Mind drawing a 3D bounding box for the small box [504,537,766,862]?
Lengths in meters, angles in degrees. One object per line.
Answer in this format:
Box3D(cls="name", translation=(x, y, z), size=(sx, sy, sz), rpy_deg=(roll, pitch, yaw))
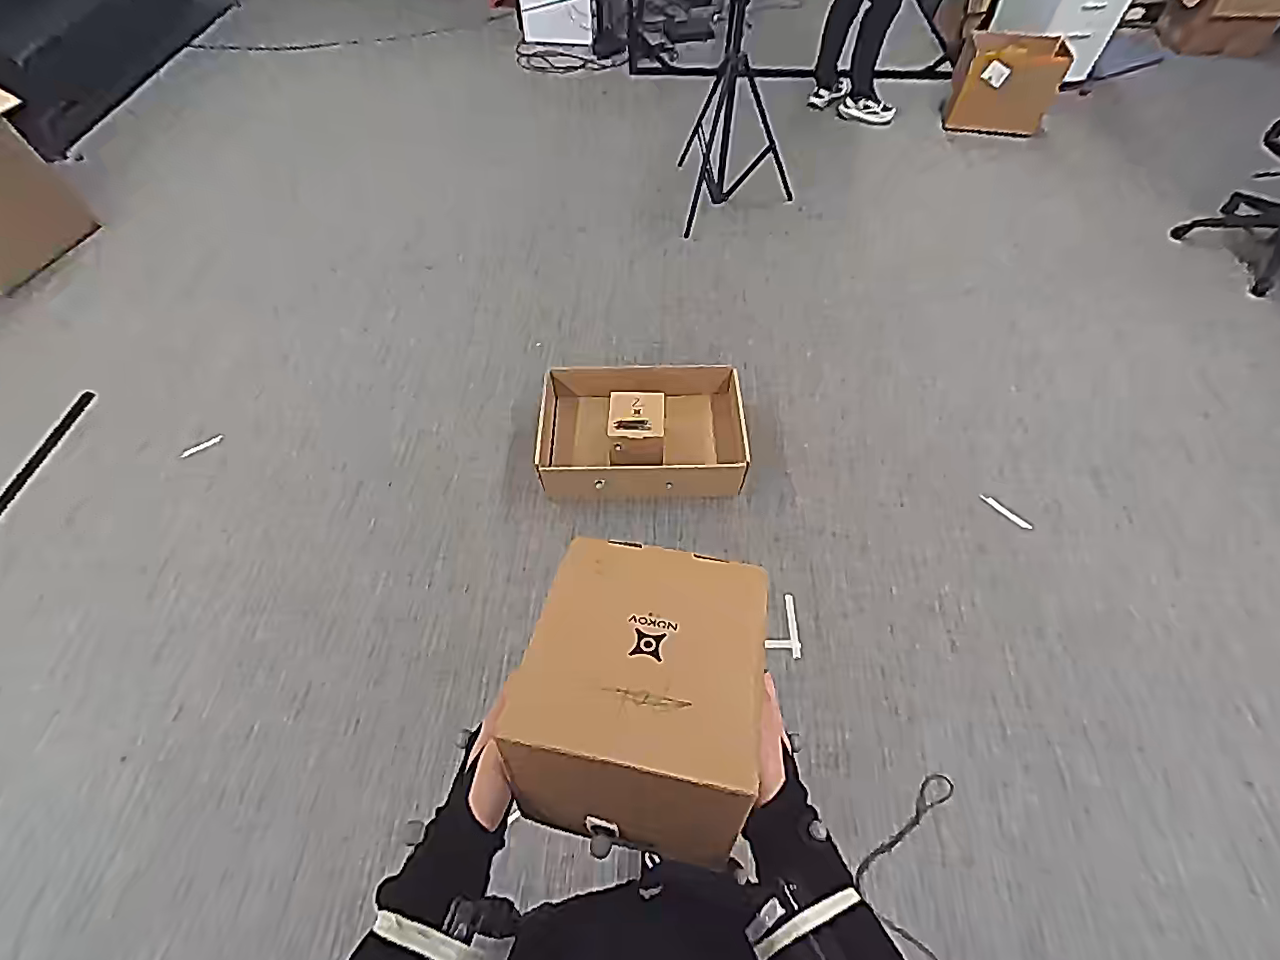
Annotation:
Box3D(cls="small box", translation=(0.005, 0.176, 0.446), size=(0.168, 0.176, 0.179), rpy_deg=(8, 42, 8))
